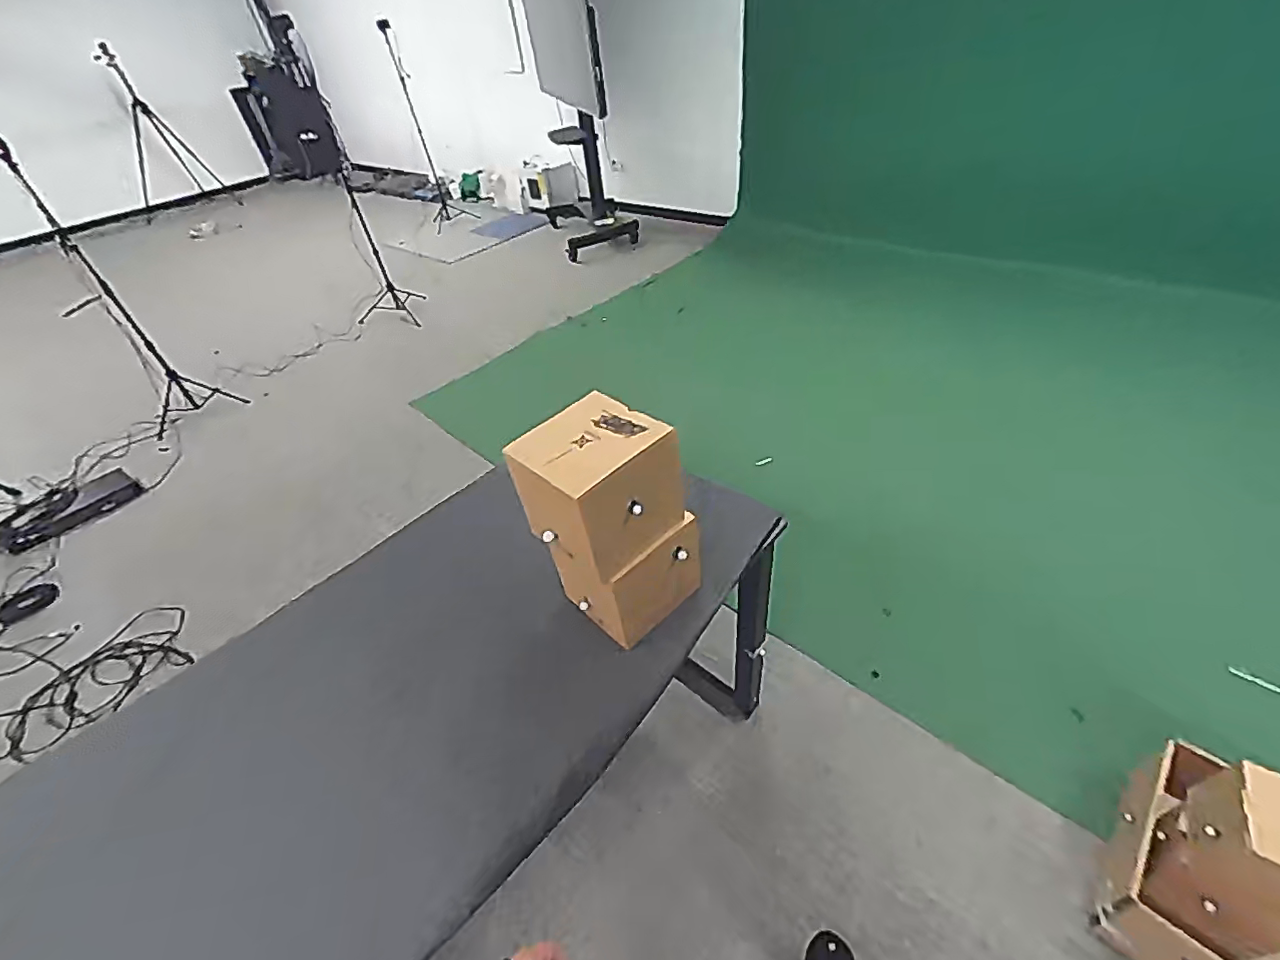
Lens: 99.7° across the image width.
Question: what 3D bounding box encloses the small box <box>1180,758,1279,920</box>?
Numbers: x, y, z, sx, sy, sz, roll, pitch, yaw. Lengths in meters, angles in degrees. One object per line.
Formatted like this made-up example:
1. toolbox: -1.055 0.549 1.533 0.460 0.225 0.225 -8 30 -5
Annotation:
1. small box: 1.090 0.631 0.936 0.179 0.176 0.168 23 52 26

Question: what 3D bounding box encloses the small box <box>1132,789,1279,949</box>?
1. small box: 1.108 0.753 1.045 0.179 0.176 0.168 31 55 34

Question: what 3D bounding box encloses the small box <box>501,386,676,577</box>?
1. small box: -0.062 -0.001 0.764 0.179 0.176 0.168 -37 48 -27

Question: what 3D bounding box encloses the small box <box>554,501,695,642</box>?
1. small box: -0.026 0.119 0.871 0.179 0.176 0.168 -36 47 -27
